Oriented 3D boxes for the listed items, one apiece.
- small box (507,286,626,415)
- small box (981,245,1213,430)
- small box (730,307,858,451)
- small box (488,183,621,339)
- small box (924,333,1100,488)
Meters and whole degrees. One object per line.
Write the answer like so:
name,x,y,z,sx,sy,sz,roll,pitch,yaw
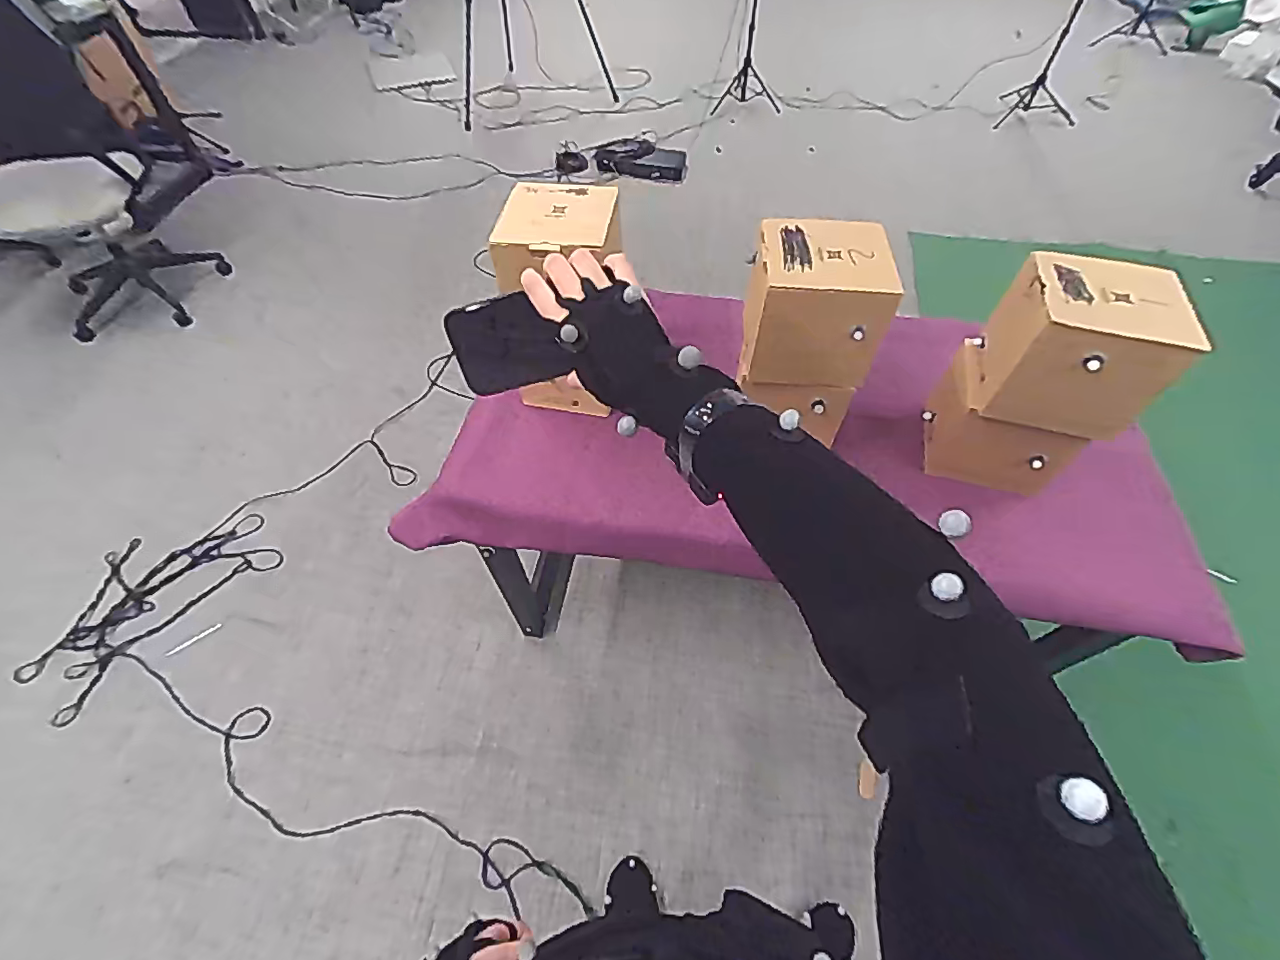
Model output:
small box,-0.121,-0.242,0.991,0.168,0.176,0.179,9,55,8
small box,0.592,-0.190,0.737,0.179,0.176,0.168,14,55,10
small box,0.258,-0.169,0.929,0.179,0.176,0.168,8,54,7
small box,-0.123,-0.345,0.863,0.168,0.176,0.179,5,55,4
small box,0.589,-0.107,0.879,0.179,0.176,0.168,14,55,11
